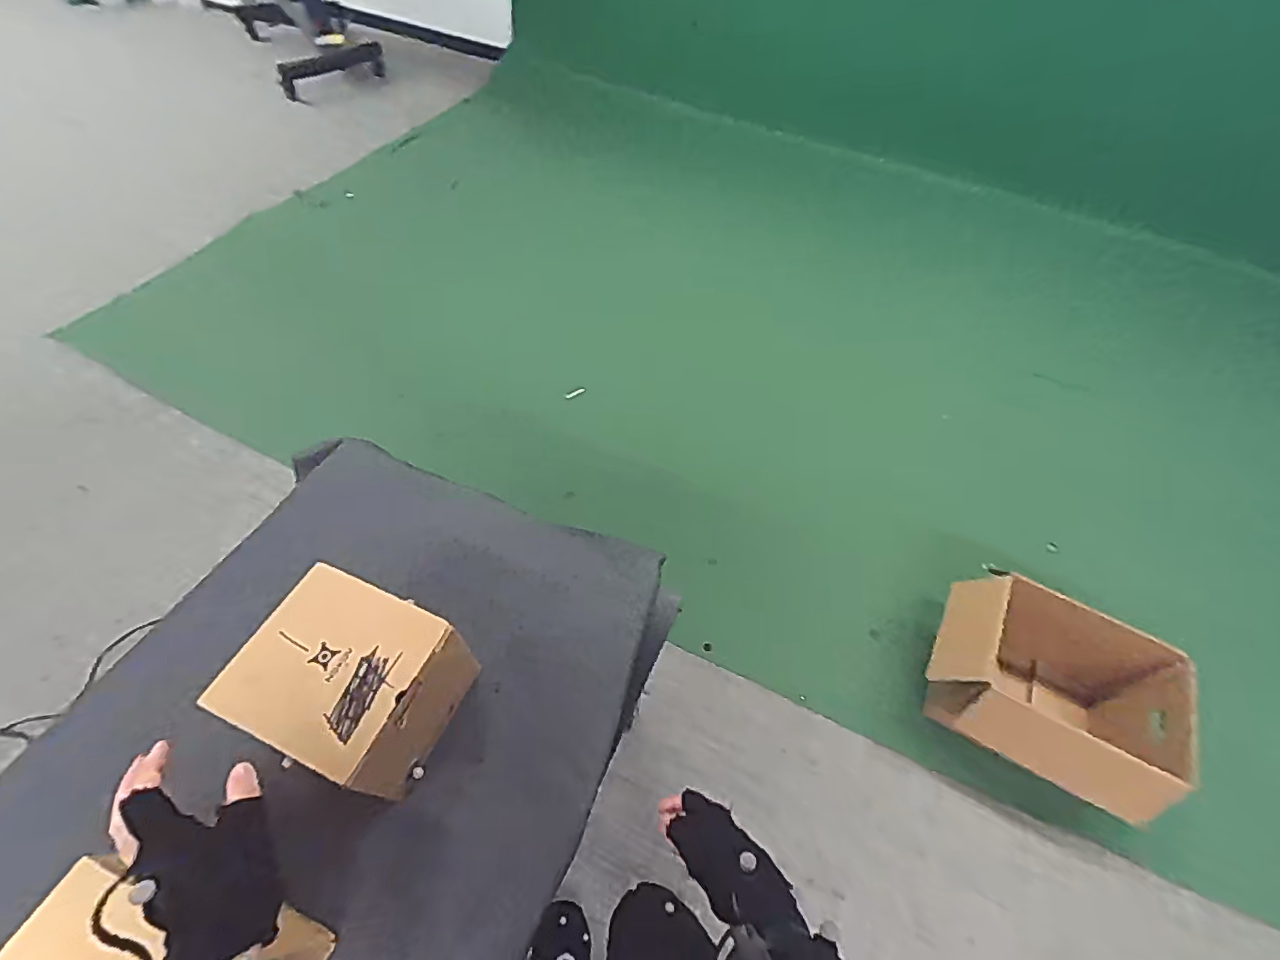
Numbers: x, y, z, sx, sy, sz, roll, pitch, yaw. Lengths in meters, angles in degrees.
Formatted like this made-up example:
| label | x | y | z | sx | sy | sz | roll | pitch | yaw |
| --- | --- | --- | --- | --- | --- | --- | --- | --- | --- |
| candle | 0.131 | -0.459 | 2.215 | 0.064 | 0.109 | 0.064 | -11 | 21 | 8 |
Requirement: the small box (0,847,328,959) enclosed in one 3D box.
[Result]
| label | x | y | z | sx | sy | sz | roll | pitch | yaw |
| --- | --- | --- | --- | --- | --- | --- | --- | --- | --- |
| small box | -0.411 | 0.439 | 0.449 | 0.179 | 0.176 | 0.168 | 22 | 56 | 10 |

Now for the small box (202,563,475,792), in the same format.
| label | x | y | z | sx | sy | sz | roll | pitch | yaw |
| --- | --- | --- | --- | --- | --- | --- | --- | --- | --- |
| small box | -0.310 | 0.225 | 0.604 | 0.179 | 0.176 | 0.168 | 22 | 56 | 11 |
